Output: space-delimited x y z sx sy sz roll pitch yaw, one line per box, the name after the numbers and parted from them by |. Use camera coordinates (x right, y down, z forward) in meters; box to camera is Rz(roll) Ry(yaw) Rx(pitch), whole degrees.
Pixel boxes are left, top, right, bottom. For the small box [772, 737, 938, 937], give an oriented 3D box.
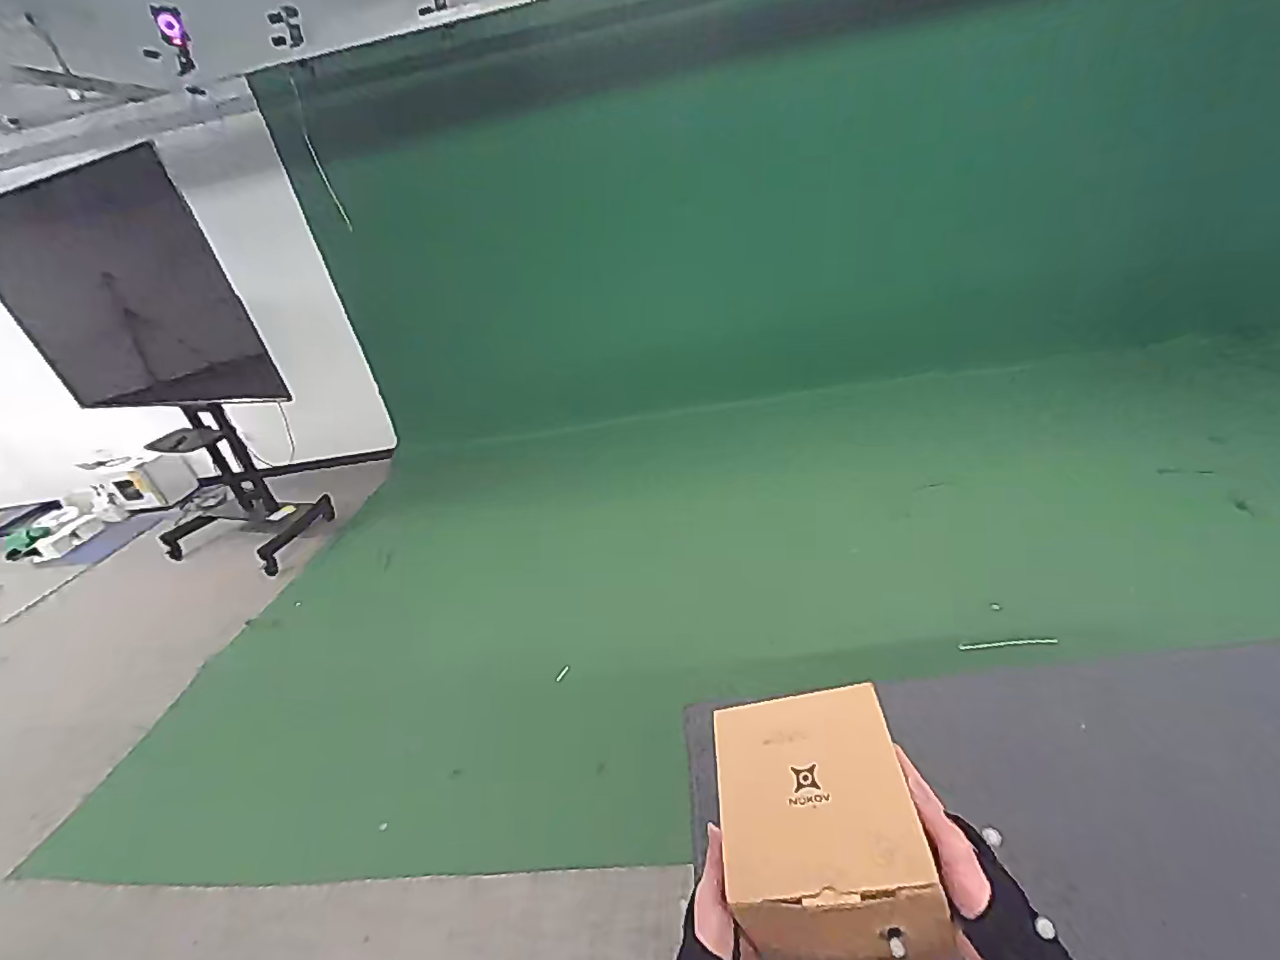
0.277 0.480 0.729 0.168 0.176 0.179 -6 29 7 | small box
